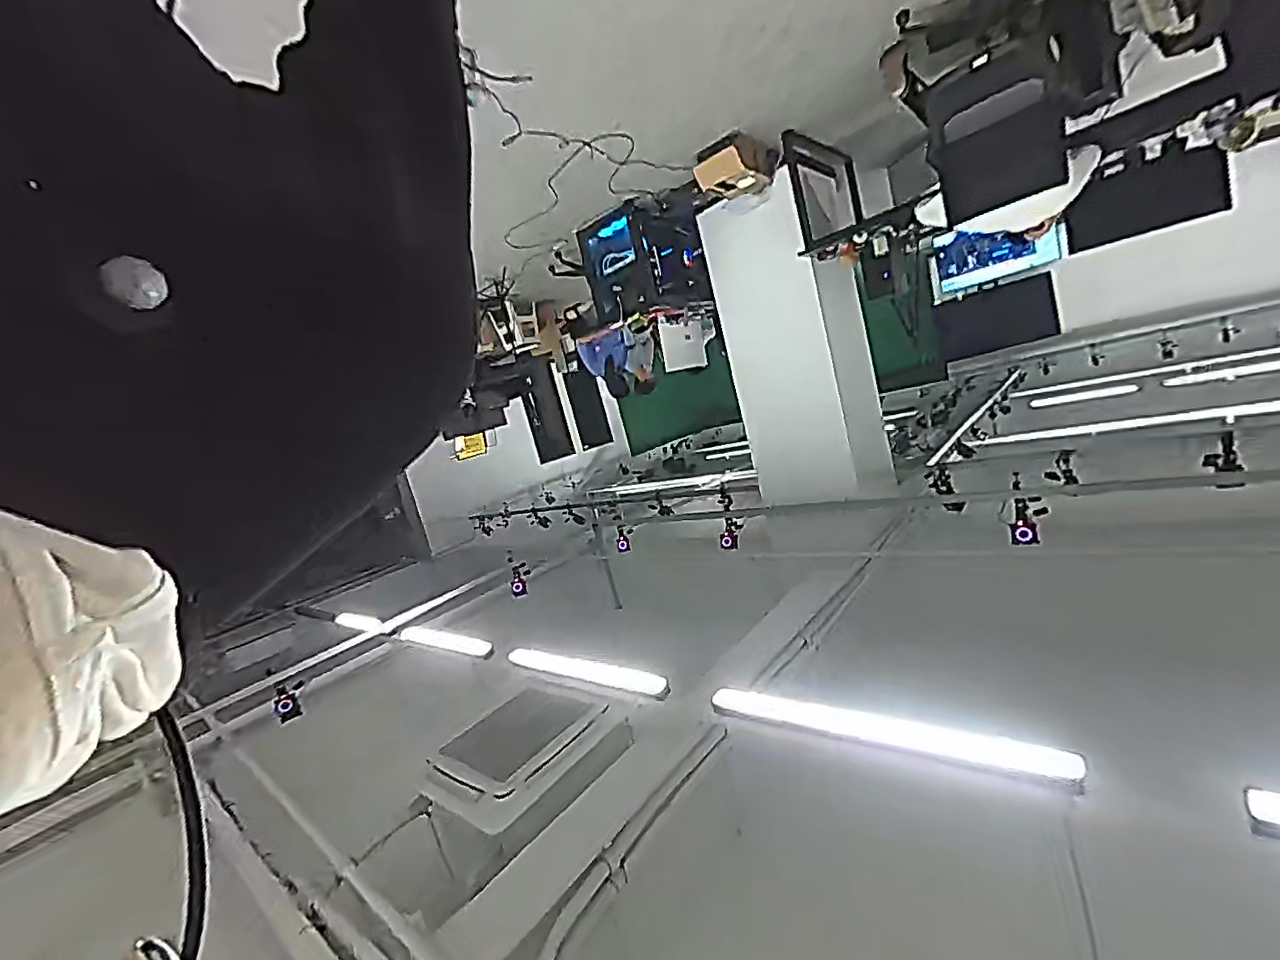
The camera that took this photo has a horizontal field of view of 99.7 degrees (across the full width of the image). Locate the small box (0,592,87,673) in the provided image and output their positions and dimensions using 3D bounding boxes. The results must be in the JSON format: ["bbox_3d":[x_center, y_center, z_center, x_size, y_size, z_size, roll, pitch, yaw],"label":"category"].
[{"bbox_3d":[-1.780,0.437,1.565,0.168,0.176,0.179,-12,-172,26],"label":"small box"}]
